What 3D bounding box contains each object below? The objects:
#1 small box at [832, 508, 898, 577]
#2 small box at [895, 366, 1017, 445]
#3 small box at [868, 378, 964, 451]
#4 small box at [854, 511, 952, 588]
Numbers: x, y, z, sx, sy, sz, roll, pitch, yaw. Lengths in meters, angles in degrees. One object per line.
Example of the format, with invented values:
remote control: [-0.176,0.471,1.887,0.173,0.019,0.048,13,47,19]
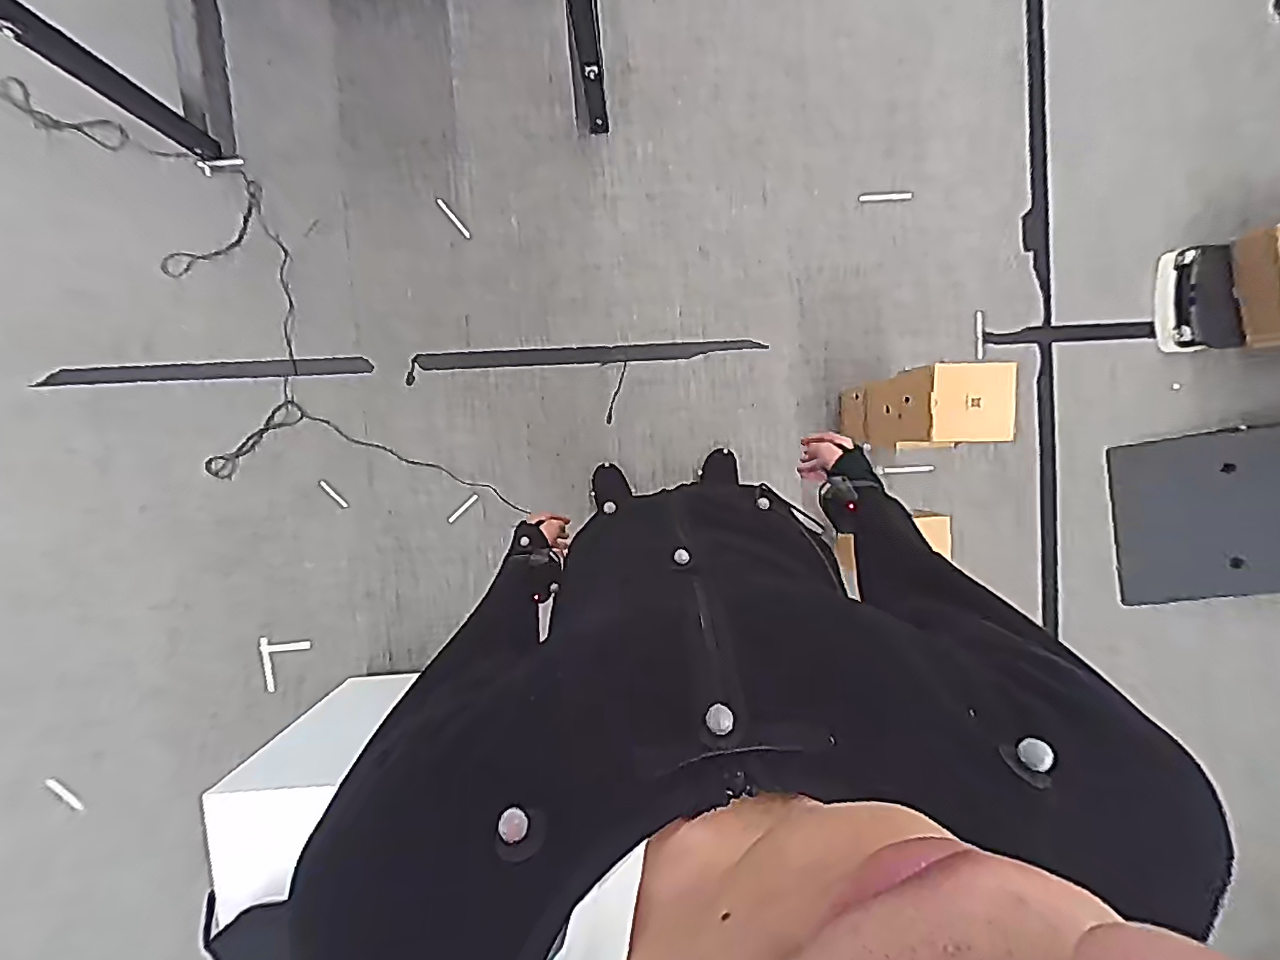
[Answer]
small box: [0.673,0.175,1.562,0.179,0.176,0.168,-5,93,1]
small box: [0.697,-0.164,1.208,0.179,0.176,0.168,-1,95,1]
small box: [0.692,-0.165,1.371,0.168,0.176,0.179,-3,95,0]
small box: [0.674,0.174,1.397,0.179,0.176,0.168,-4,93,1]
